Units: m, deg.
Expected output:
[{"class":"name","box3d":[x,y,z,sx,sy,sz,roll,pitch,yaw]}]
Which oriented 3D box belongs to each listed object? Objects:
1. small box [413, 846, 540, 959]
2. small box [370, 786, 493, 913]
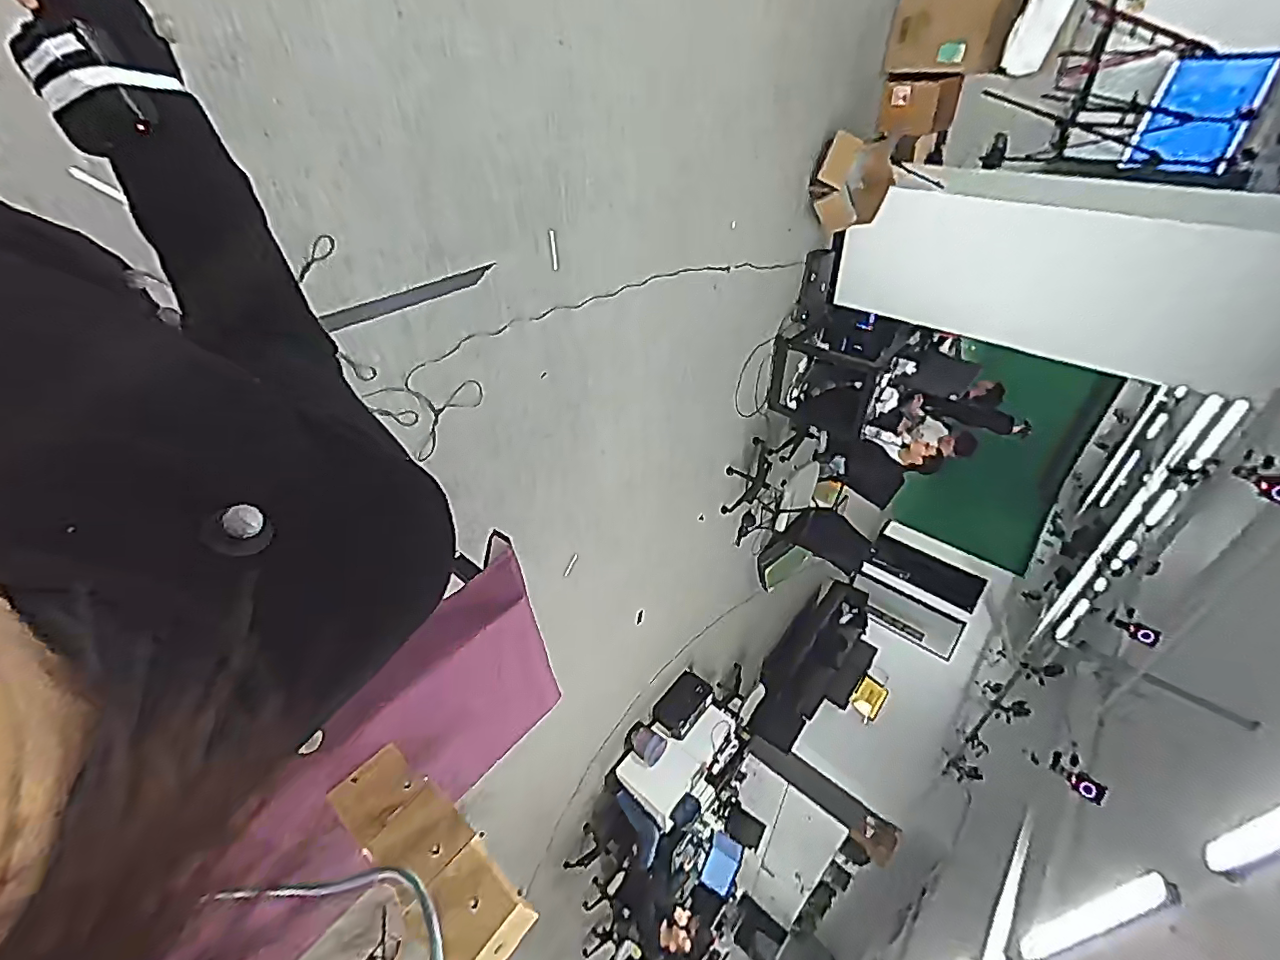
[{"class":"small box","box3d":[-0.340,0.911,1.131,0.168,0.176,0.179,-43,145,-30]},{"class":"small box","box3d":[-0.462,0.832,1.206,0.179,0.176,0.168,-36,140,-36]}]
